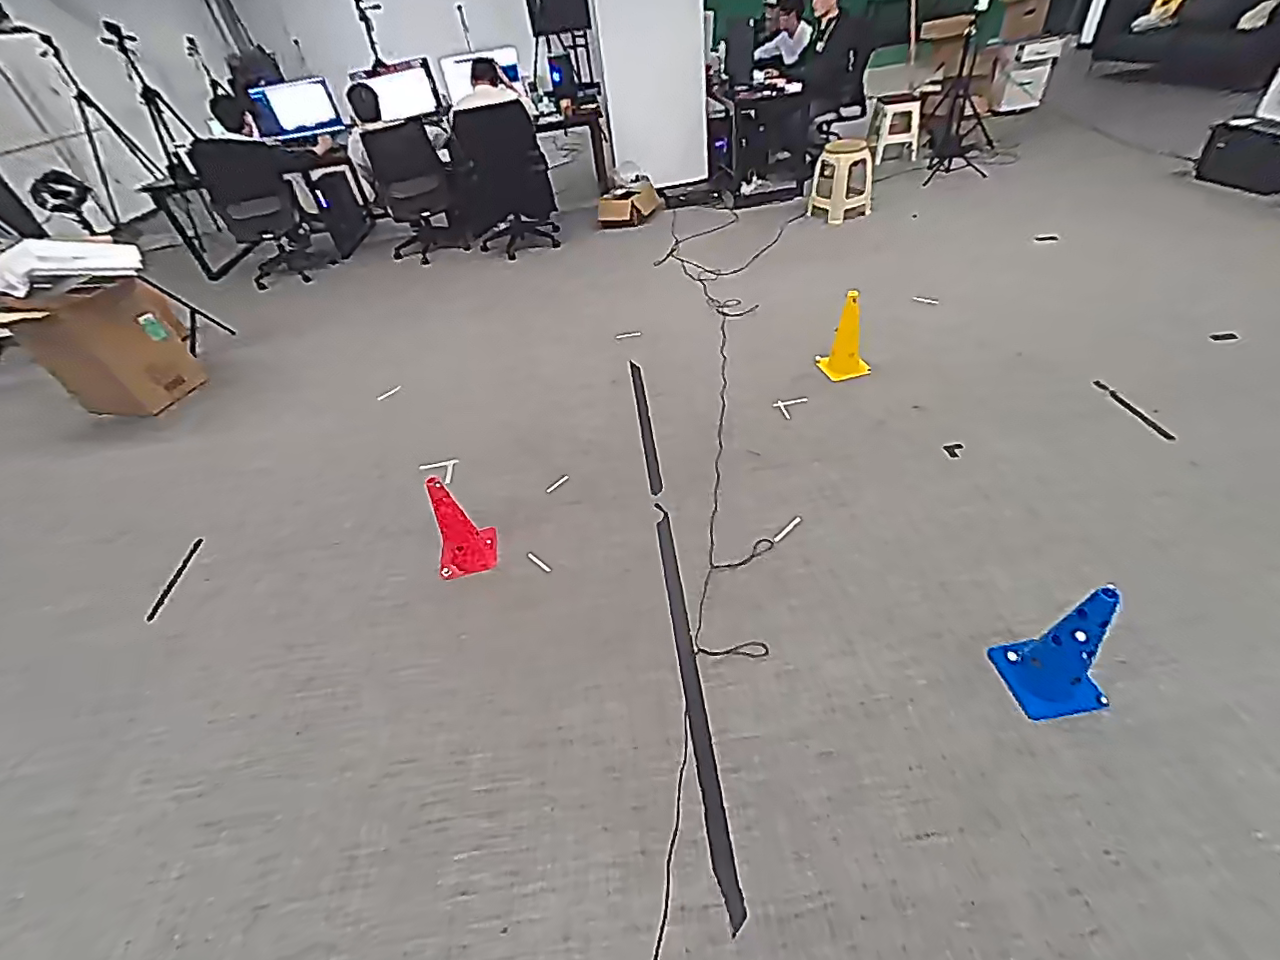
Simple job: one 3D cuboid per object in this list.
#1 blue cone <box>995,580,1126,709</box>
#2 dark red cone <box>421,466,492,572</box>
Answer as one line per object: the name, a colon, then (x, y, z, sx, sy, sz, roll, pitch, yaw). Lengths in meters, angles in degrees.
blue cone: (1.010, 0.361, 1.256, 0.192, 0.380, 0.193, -8, 42, 0)
dark red cone: (-0.644, 0.114, 1.805, 0.201, 0.394, 0.202, -14, 42, -6)
